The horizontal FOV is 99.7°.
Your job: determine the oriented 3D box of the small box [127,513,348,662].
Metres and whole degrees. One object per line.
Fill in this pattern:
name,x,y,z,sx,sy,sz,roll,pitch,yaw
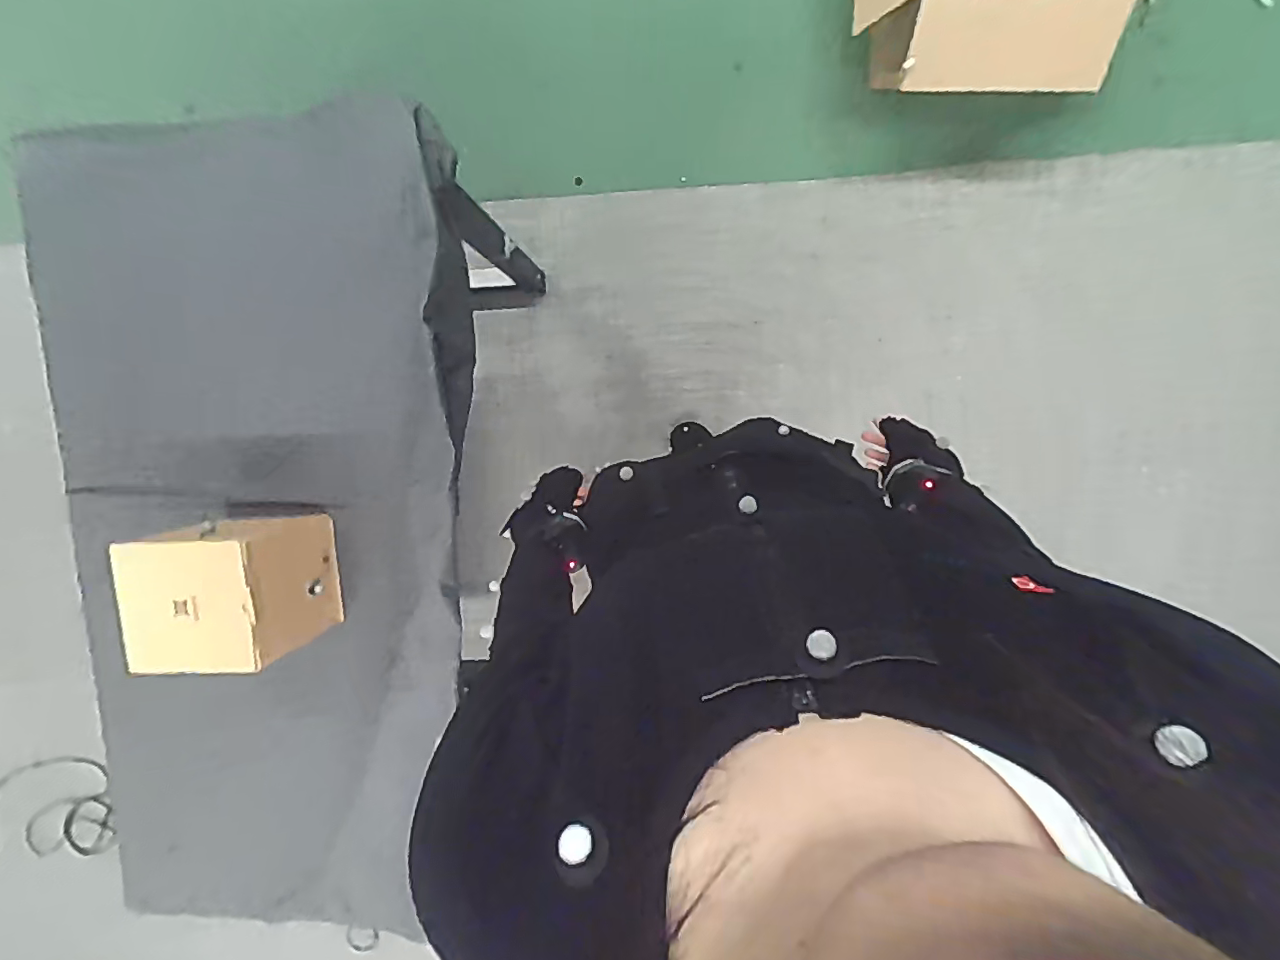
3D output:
small box,-0.546,0.141,0.755,0.179,0.176,0.168,-3,96,5
